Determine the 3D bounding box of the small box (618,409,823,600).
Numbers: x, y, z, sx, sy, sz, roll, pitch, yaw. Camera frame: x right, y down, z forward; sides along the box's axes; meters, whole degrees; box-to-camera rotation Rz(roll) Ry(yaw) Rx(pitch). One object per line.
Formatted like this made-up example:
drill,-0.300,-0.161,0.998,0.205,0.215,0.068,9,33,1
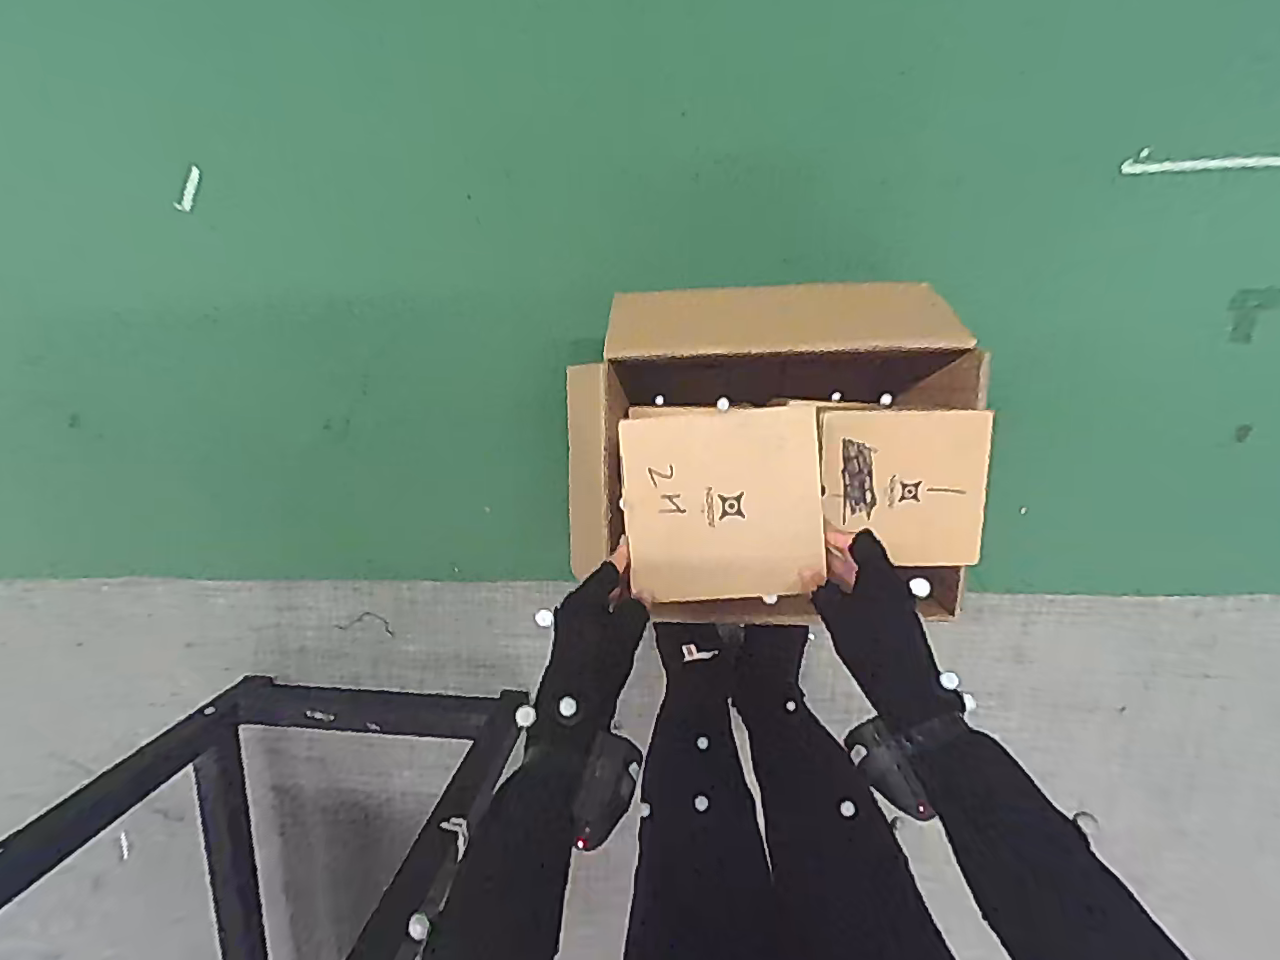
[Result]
small box,0.076,0.019,0.557,0.179,0.176,0.168,-4,91,5
